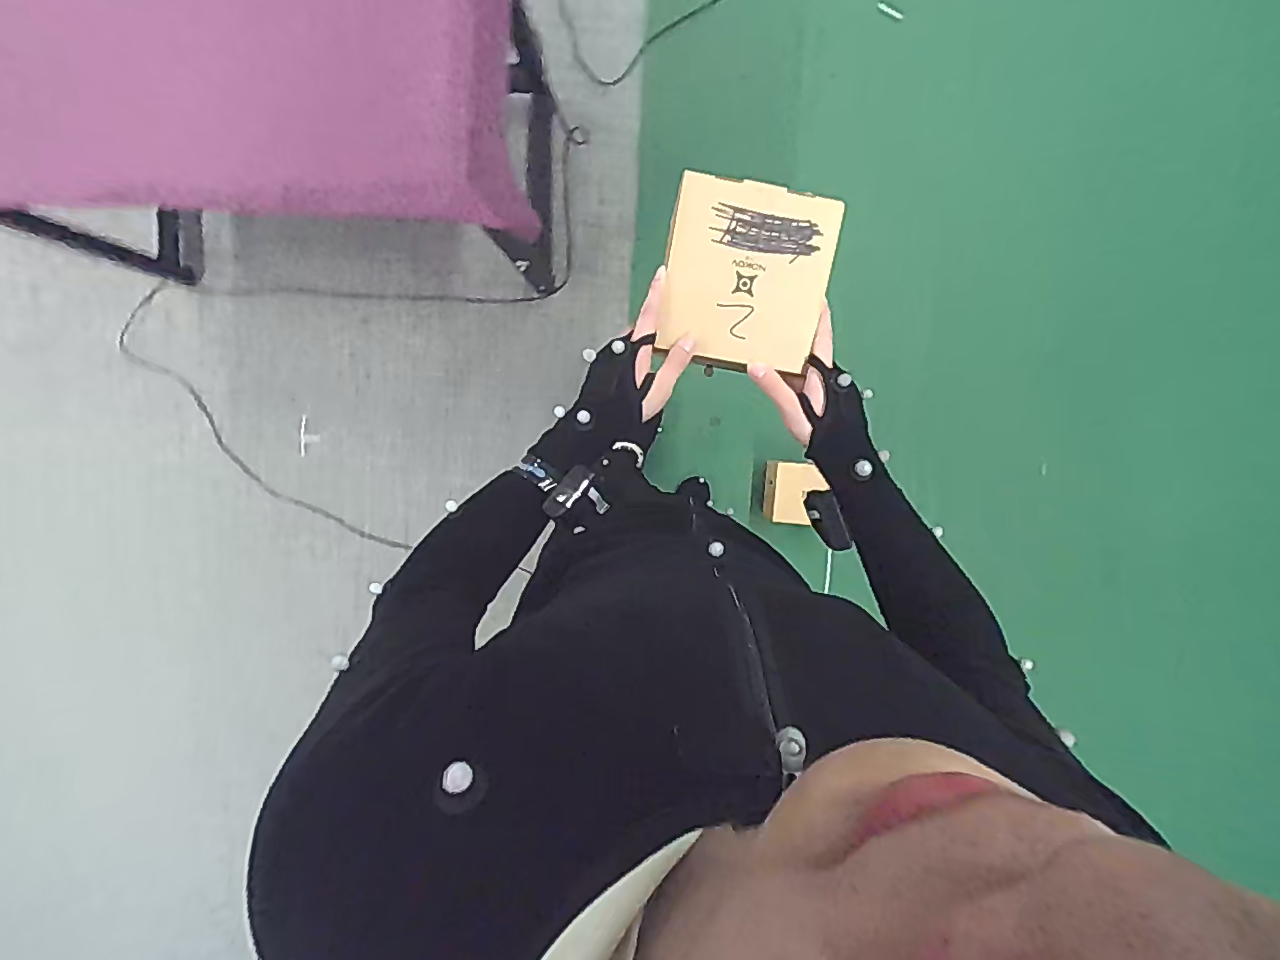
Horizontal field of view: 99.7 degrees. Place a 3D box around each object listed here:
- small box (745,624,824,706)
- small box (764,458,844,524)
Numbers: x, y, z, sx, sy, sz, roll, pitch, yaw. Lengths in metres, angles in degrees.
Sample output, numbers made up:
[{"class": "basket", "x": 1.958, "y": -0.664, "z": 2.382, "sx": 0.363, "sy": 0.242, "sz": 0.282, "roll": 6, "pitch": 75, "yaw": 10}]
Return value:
[{"class": "small box", "x": 0.412, "y": 0.528, "z": 1.560, "sx": 0.179, "sy": 0.176, "sz": 0.168, "roll": 6, "pitch": 94, "yaw": 2}, {"class": "small box", "x": 0.457, "y": 0.027, "z": 1.531, "sx": 0.179, "sy": 0.176, "sz": 0.168, "roll": 4, "pitch": 93, "yaw": 1}]
